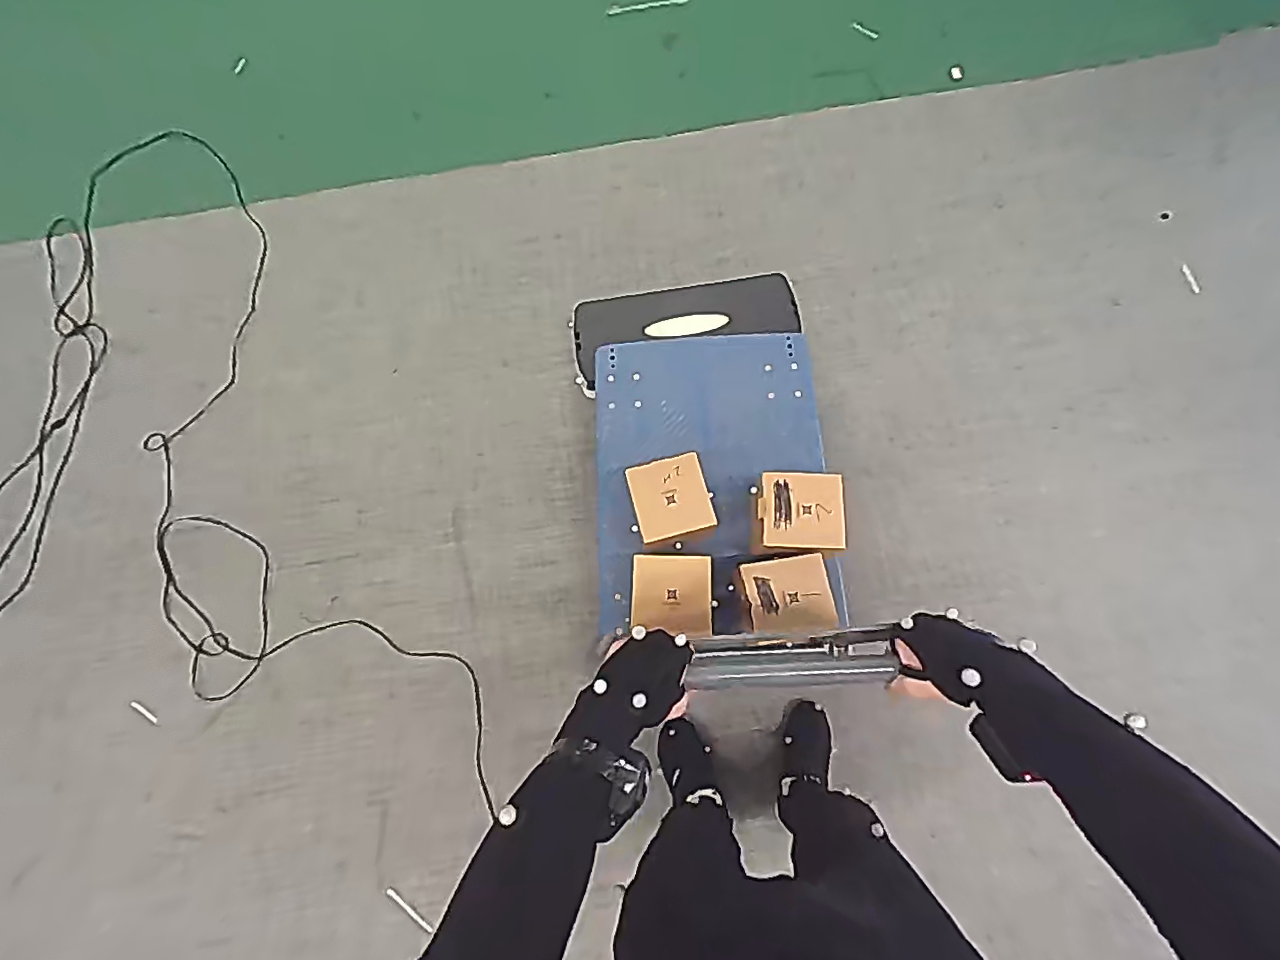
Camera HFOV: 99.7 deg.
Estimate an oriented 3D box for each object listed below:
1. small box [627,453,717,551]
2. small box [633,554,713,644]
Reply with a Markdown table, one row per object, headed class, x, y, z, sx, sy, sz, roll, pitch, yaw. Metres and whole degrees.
| class | x | y | z | sx | sy | sz | roll | pitch | yaw |
| --- | --- | --- | --- | --- | --- | --- | --- | --- | --- |
| small box | 0.073 | 0.060 | 1.255 | 0.168 | 0.176 | 0.179 | -14 | 73 | -3 |
| small box | 0.070 | 0.267 | 1.194 | 0.168 | 0.176 | 0.179 | 1 | 73 | 2 |
